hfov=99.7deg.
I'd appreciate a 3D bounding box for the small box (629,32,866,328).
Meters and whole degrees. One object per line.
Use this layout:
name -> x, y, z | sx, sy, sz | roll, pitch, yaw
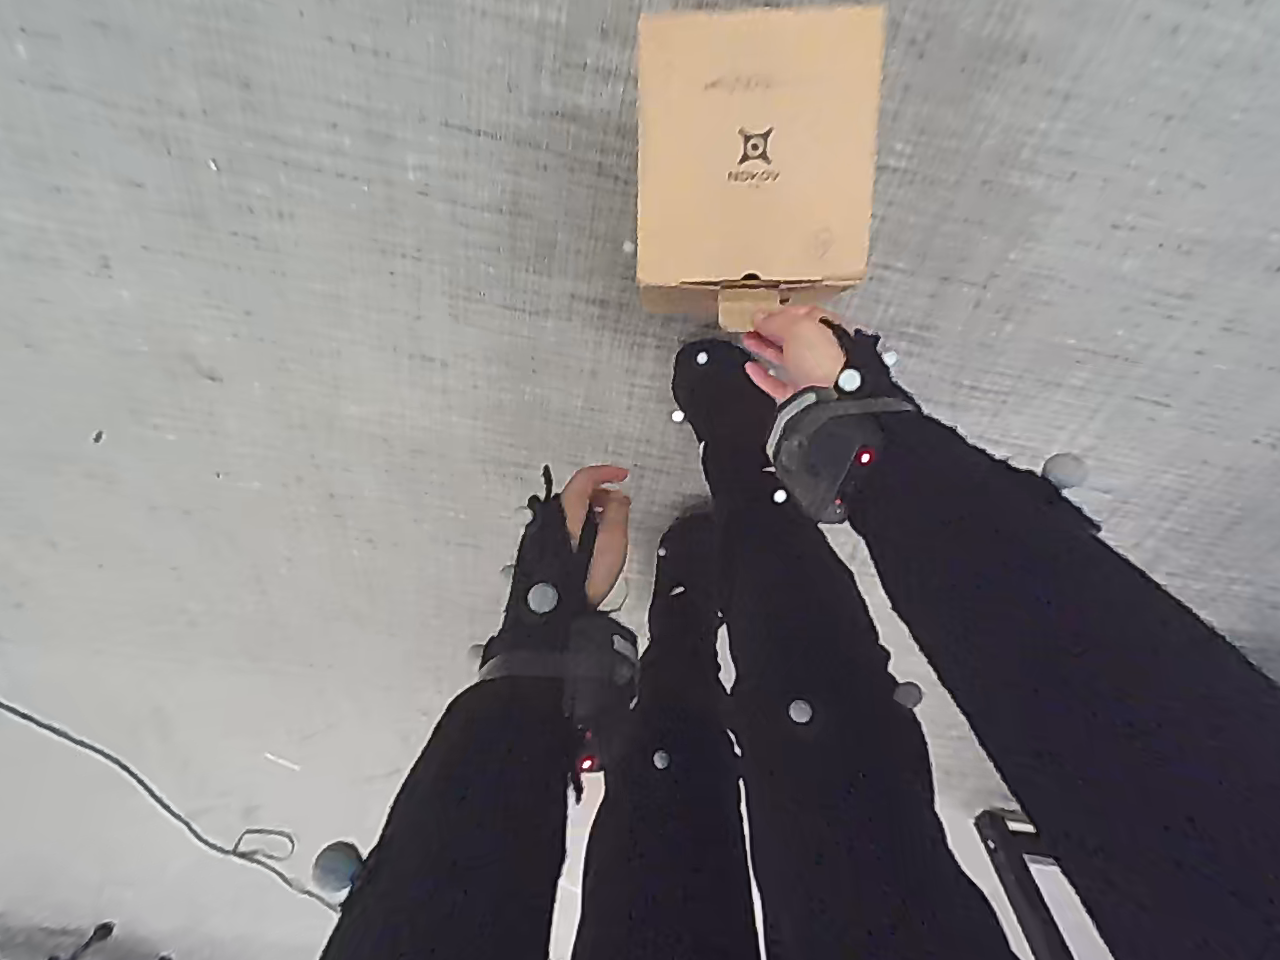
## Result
small box -> 0.079, -0.230, 0.464 | 0.168, 0.176, 0.179 | 0, 95, 2
